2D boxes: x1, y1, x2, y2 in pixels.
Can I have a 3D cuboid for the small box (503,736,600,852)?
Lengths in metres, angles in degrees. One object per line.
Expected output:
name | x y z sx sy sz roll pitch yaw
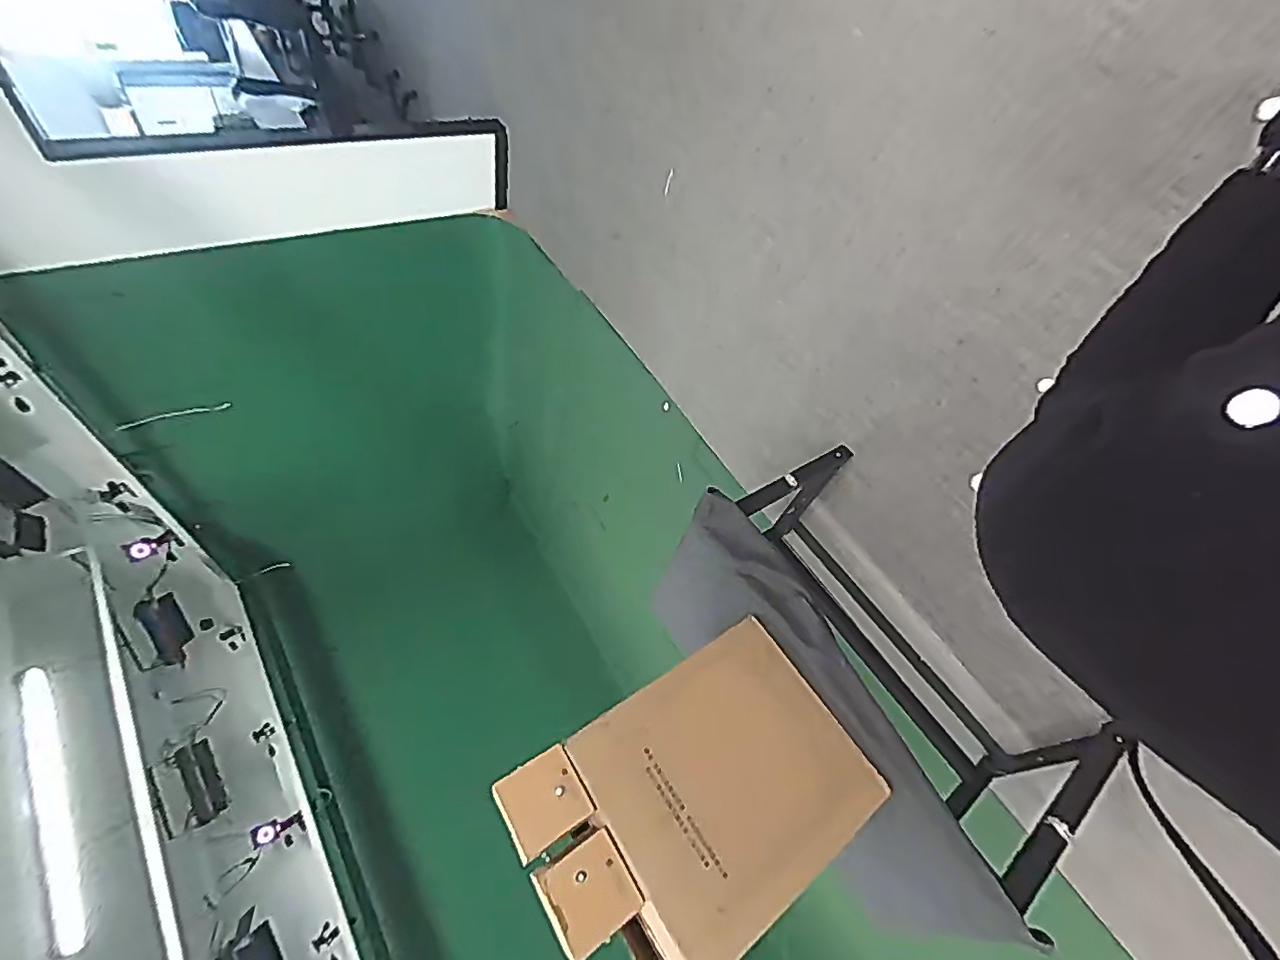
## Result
small box | -0.208 0.737 1.271 0.168 0.176 0.179 53 149 25
